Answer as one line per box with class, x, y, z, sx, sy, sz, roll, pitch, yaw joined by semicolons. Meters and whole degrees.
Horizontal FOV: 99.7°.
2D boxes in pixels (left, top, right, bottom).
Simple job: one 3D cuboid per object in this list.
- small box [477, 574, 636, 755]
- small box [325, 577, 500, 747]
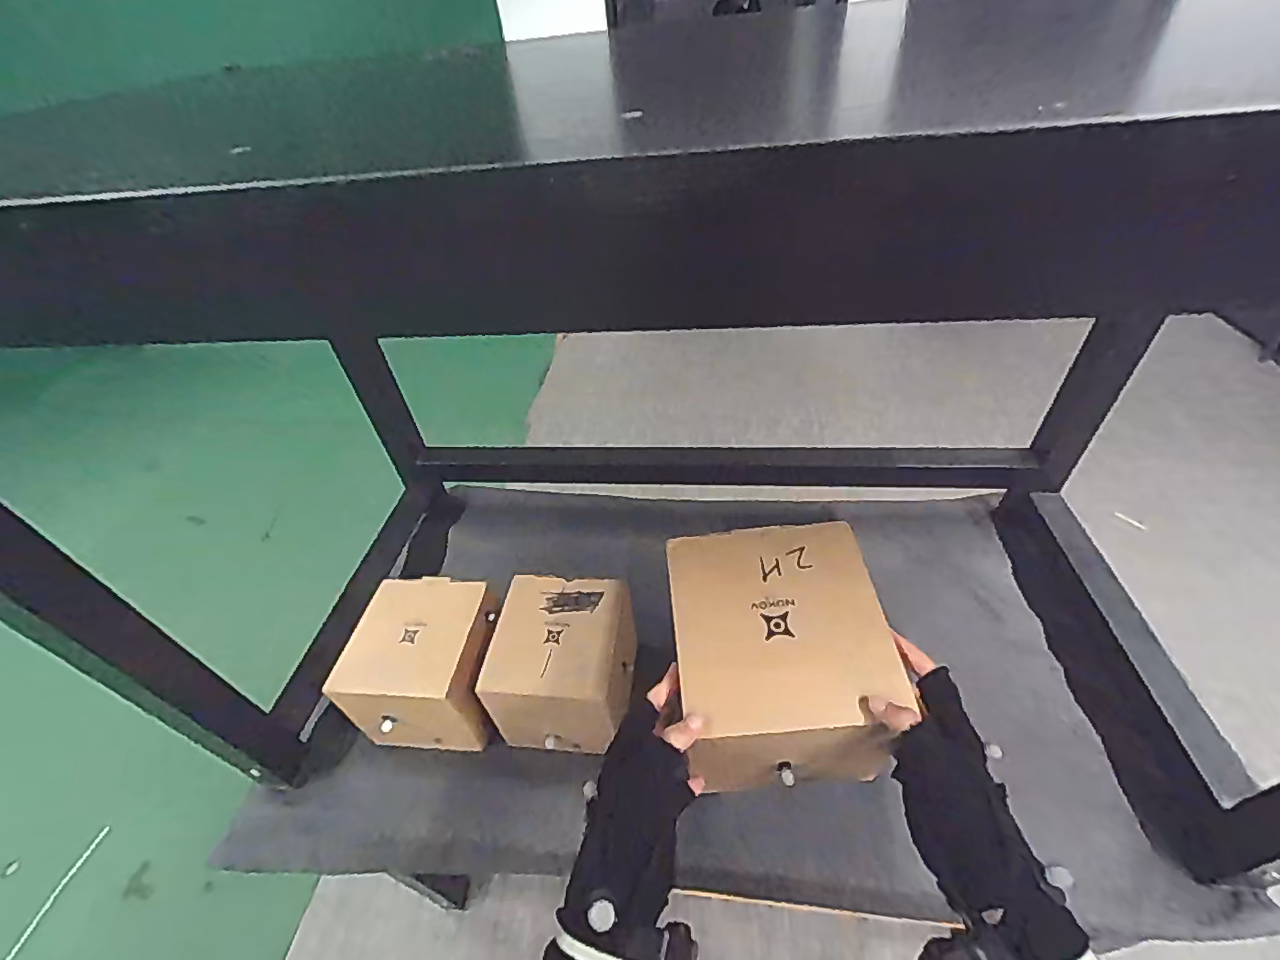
small box;-0.101;0.254;0.754;0.168;0.176;0.179;0;43;9
small box;-0.297;0.260;0.773;0.168;0.176;0.179;0;42;7
